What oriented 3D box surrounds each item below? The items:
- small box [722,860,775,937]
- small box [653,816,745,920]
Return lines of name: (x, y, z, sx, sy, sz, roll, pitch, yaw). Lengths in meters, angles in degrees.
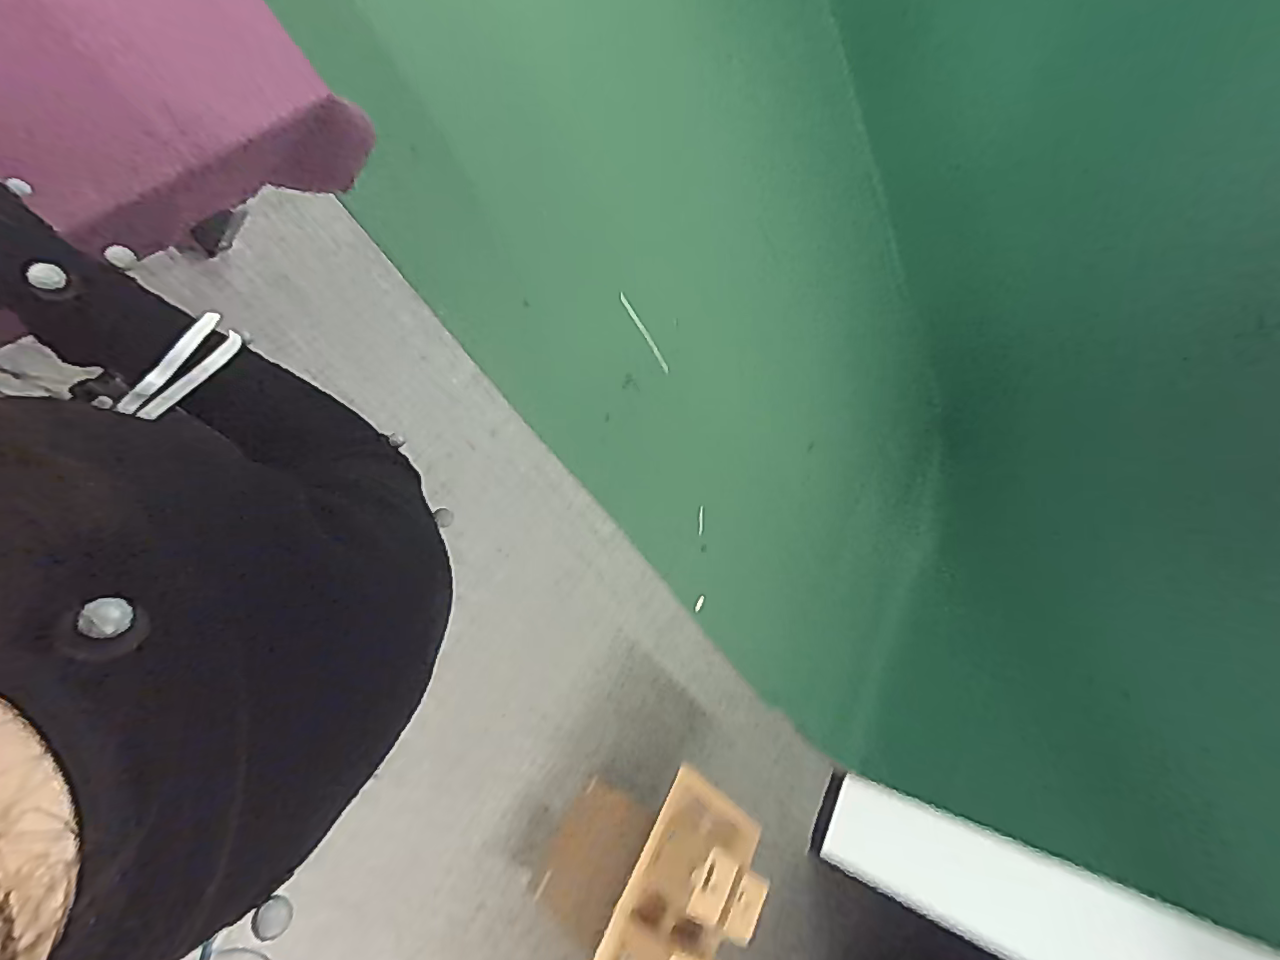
small box: (0.285, 1.259, 1.672, 0.179, 0.176, 0.168, 51, 57, -34)
small box: (0.168, 1.108, 1.556, 0.179, 0.176, 0.168, 53, 58, -32)
